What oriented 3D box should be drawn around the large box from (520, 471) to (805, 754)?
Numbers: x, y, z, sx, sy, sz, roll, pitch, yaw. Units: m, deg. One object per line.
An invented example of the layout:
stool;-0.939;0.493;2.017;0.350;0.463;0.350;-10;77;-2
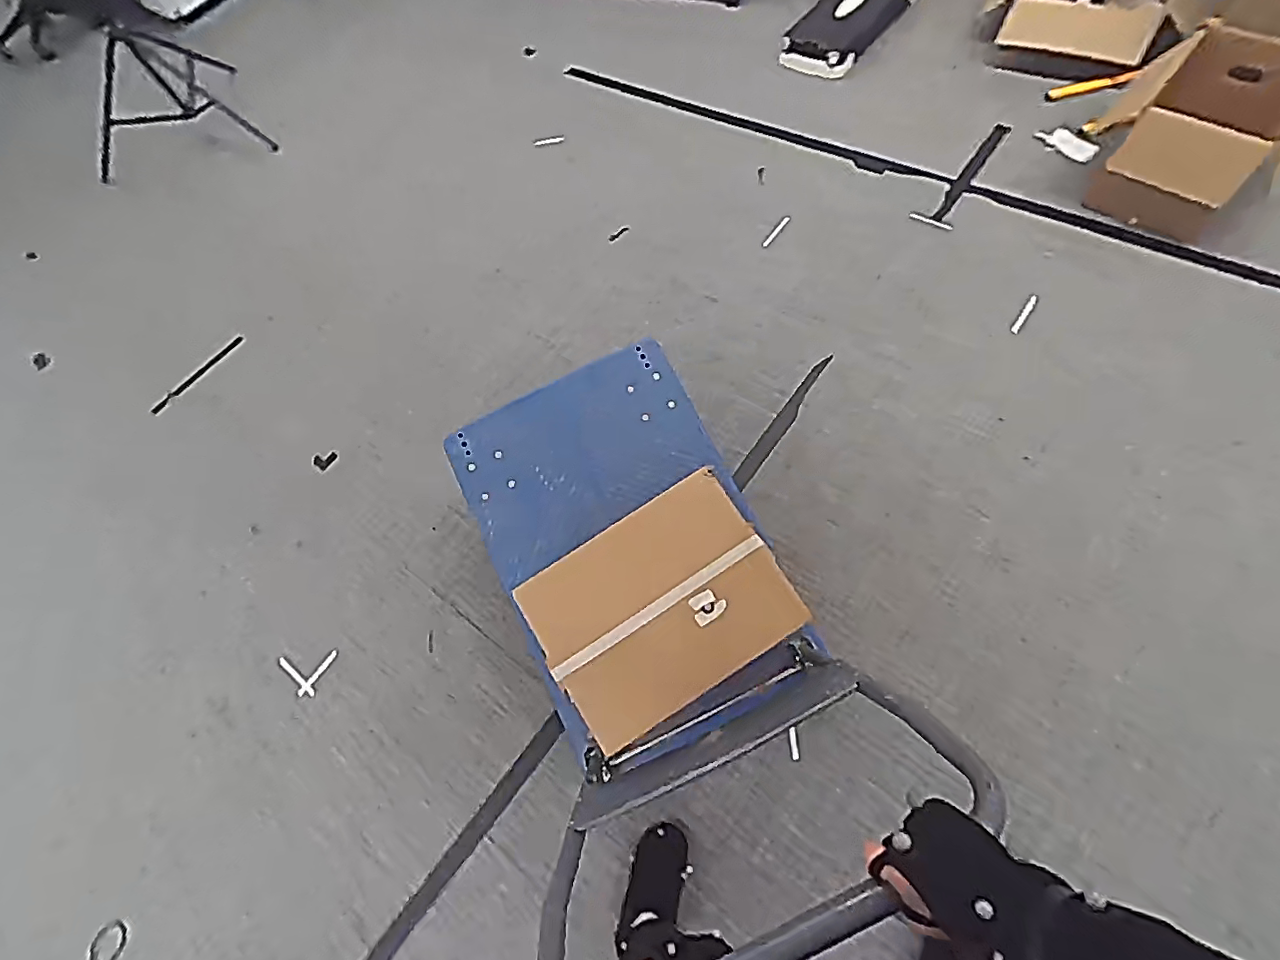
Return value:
large box;0.041;0.248;1.065;0.408;0.320;0.320;-34;79;-5
